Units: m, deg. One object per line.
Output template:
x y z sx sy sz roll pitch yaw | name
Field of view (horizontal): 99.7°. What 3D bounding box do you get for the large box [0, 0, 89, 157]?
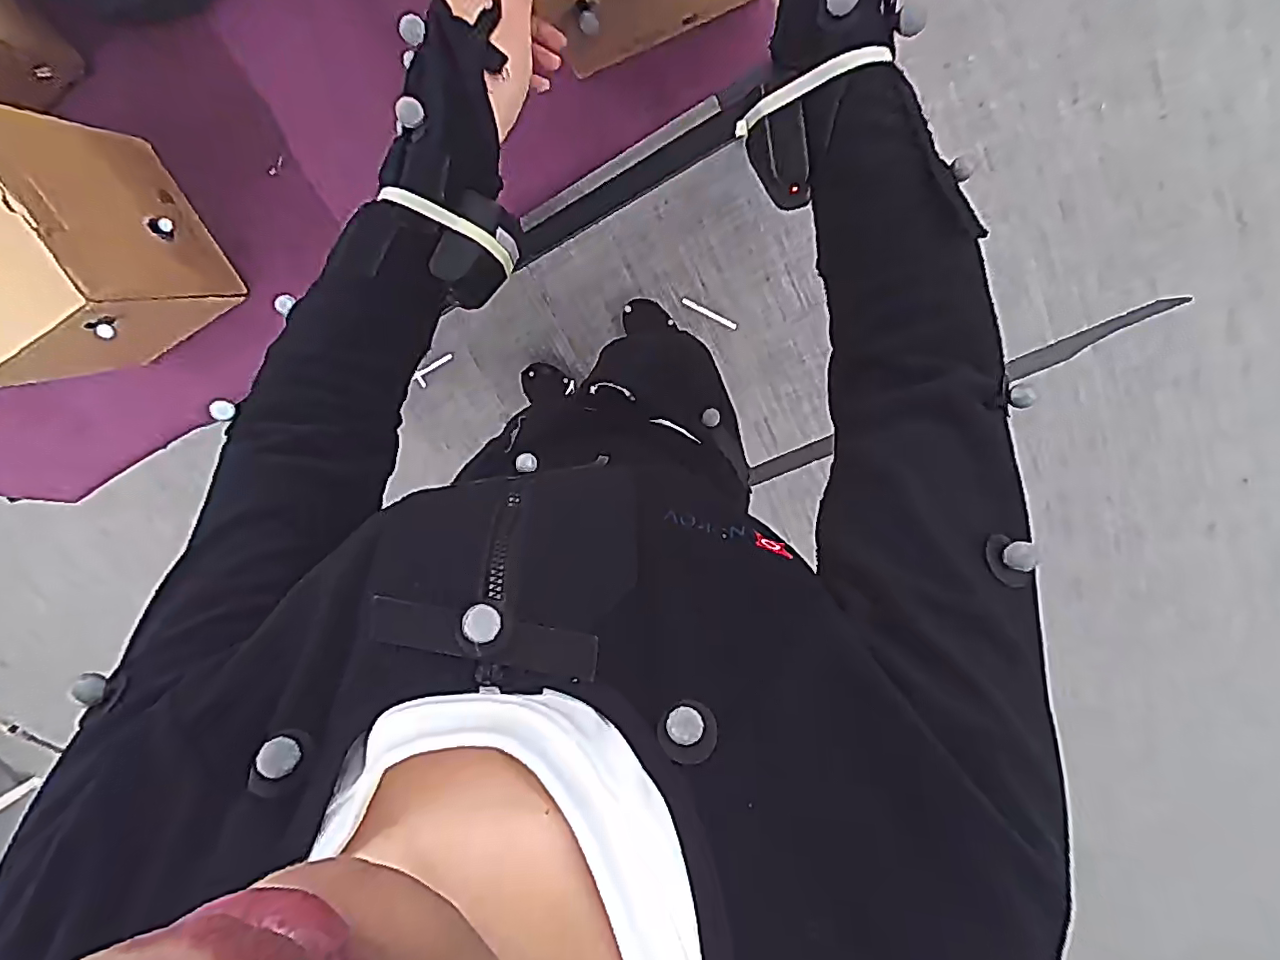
-0.762 -0.442 0.360 0.320 0.320 0.408 -26 109 15 | large box
